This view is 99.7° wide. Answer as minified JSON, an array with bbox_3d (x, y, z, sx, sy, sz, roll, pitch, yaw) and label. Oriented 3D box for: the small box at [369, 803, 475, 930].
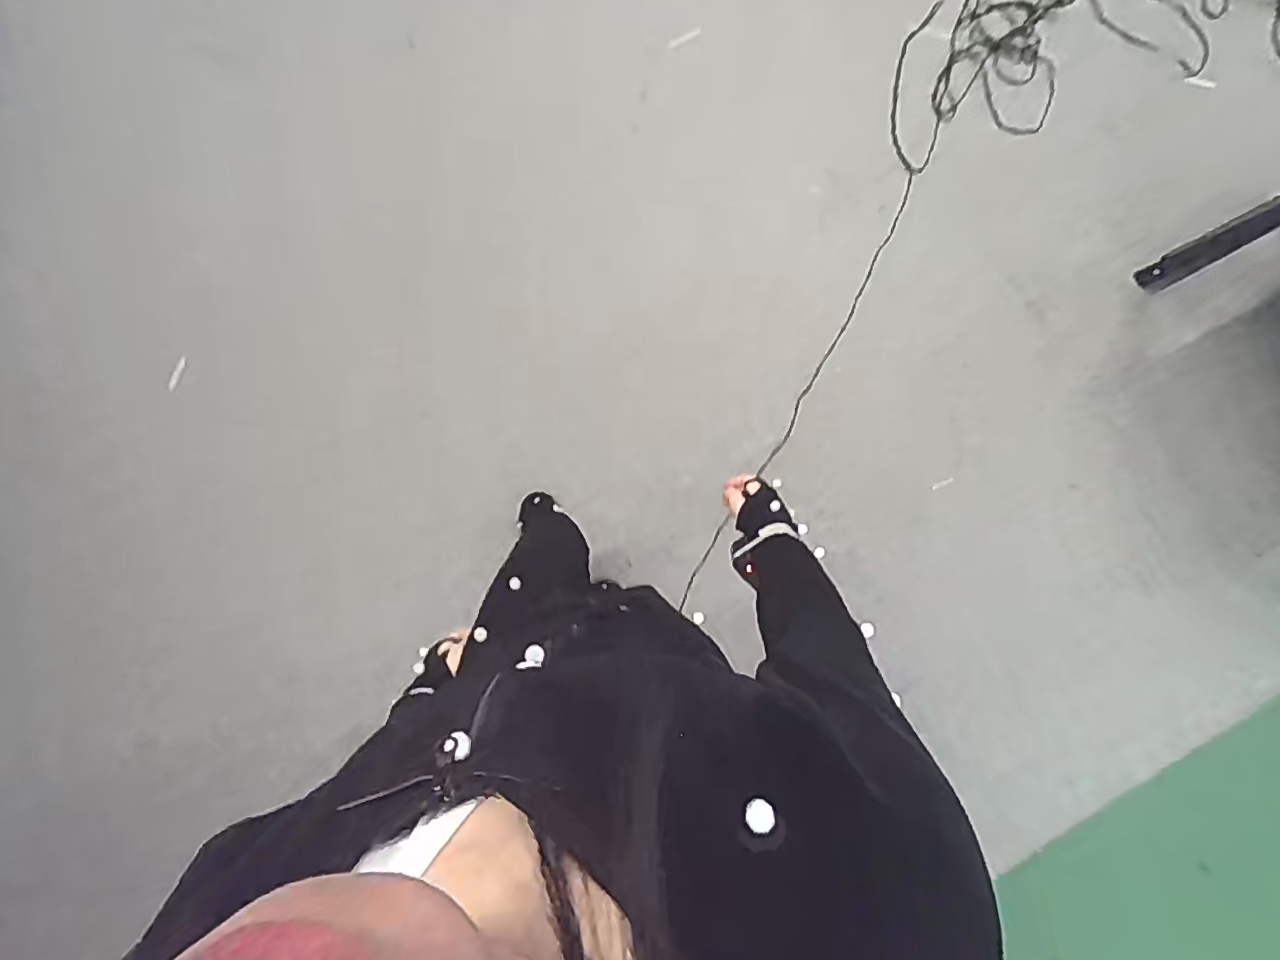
[{"bbox_3d":[-0.531,0.943,1.336,0.179,0.176,0.168,-18,87,-5],"label":"small box"}]
